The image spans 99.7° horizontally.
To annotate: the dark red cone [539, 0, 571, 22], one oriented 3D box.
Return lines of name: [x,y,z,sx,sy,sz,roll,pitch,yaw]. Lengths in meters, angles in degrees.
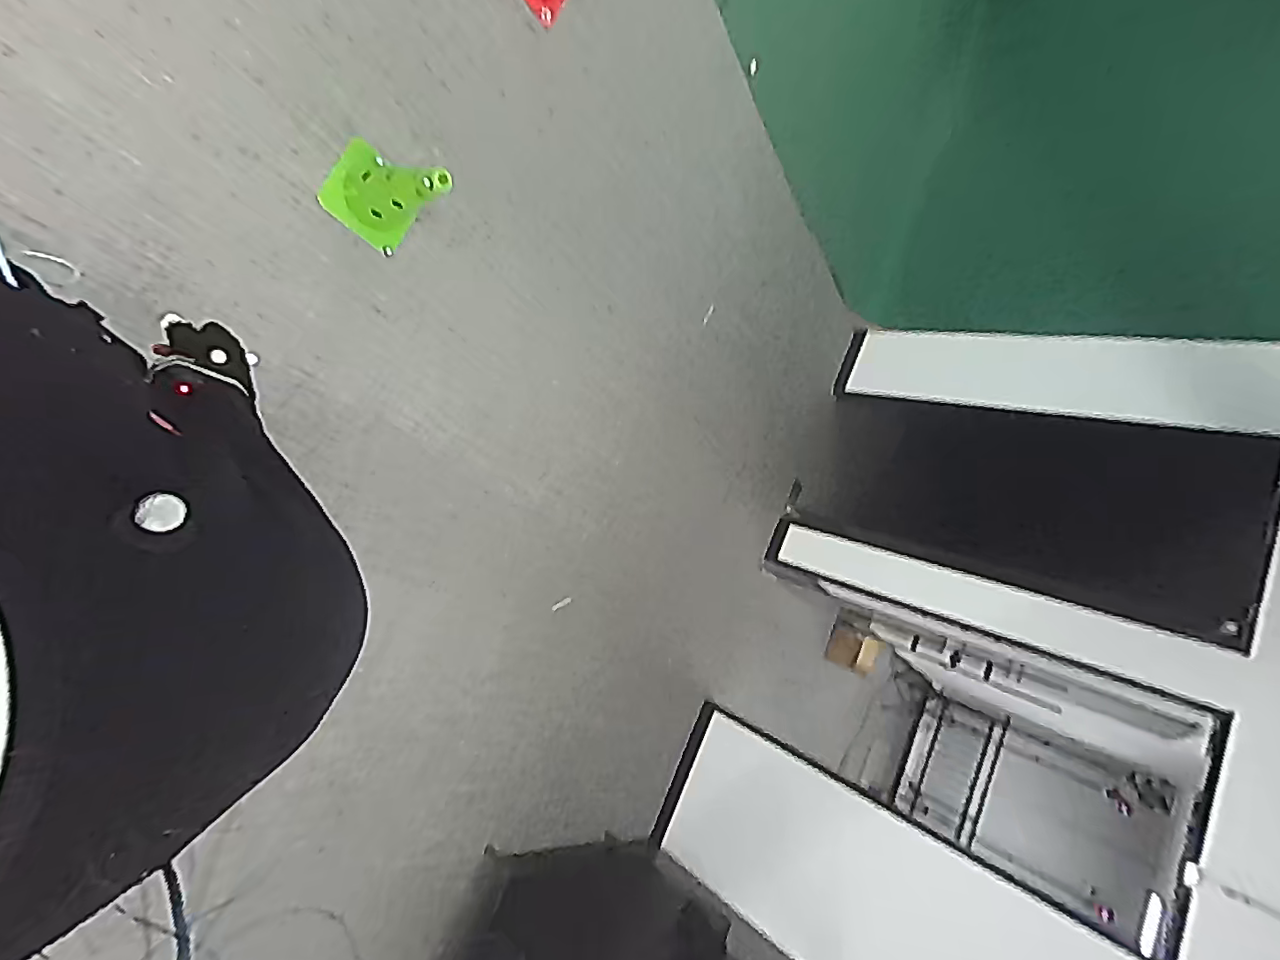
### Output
dark red cone: [-0.141,-1.405,1.398,0.202,0.394,0.201,29,79,-49]

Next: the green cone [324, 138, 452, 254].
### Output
green cone: [-0.531,-0.670,1.238,0.202,0.368,0.200,34,76,-47]
